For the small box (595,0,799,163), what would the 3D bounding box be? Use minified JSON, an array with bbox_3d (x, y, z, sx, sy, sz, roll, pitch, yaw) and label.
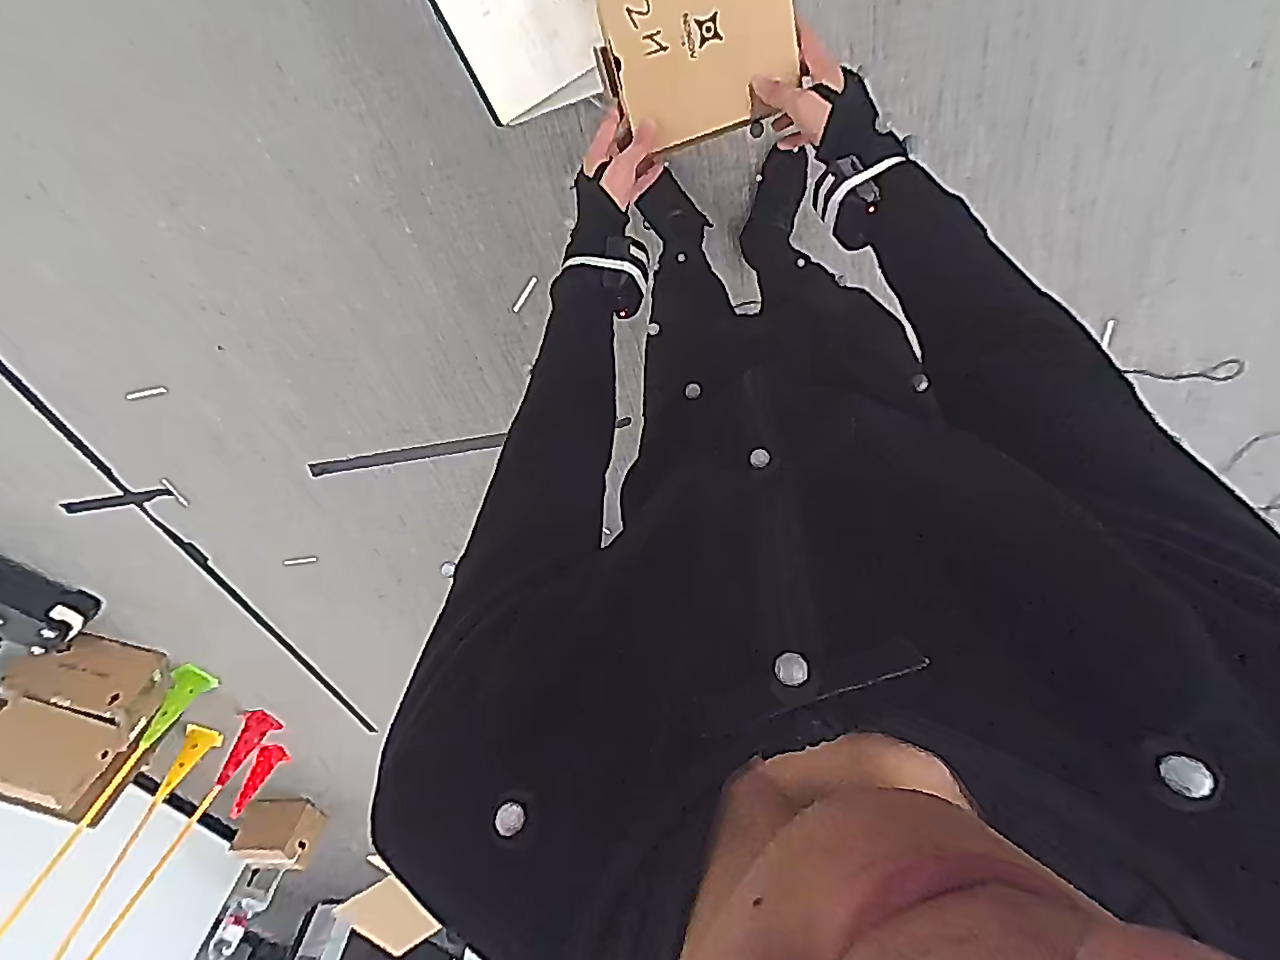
[{"bbox_3d":[0.064,-0.464,0.589,0.179,0.176,0.168,-11,118,14],"label":"small box"}]
